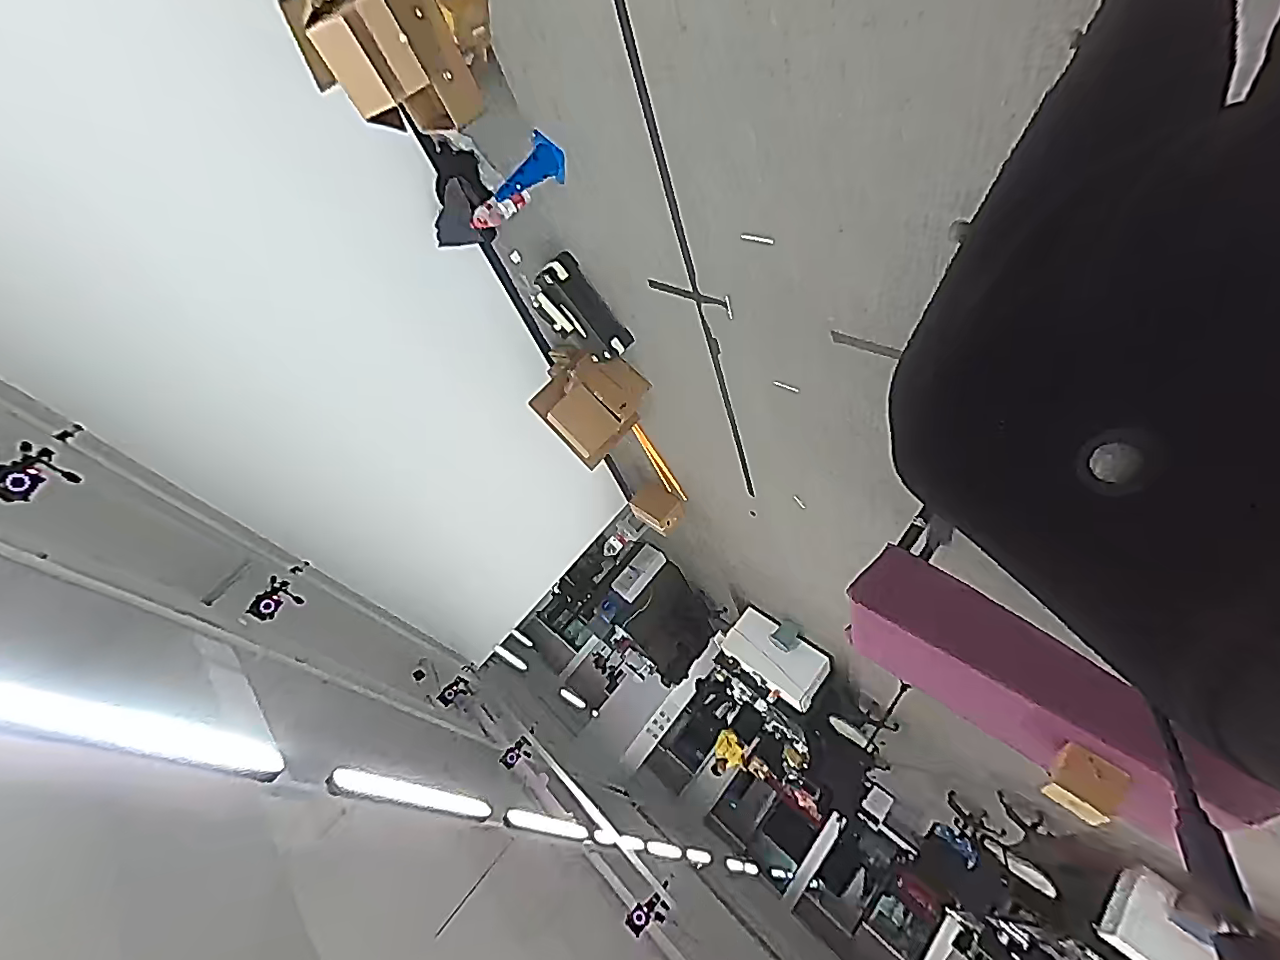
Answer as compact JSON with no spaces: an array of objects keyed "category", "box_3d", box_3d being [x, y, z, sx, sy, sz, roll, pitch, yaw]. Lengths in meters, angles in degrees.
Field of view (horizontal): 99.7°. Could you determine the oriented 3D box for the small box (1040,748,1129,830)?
[{"category":"small box","box_3d":[1.512,1.051,1.840,0.168,0.176,0.179,30,159,36]}]
